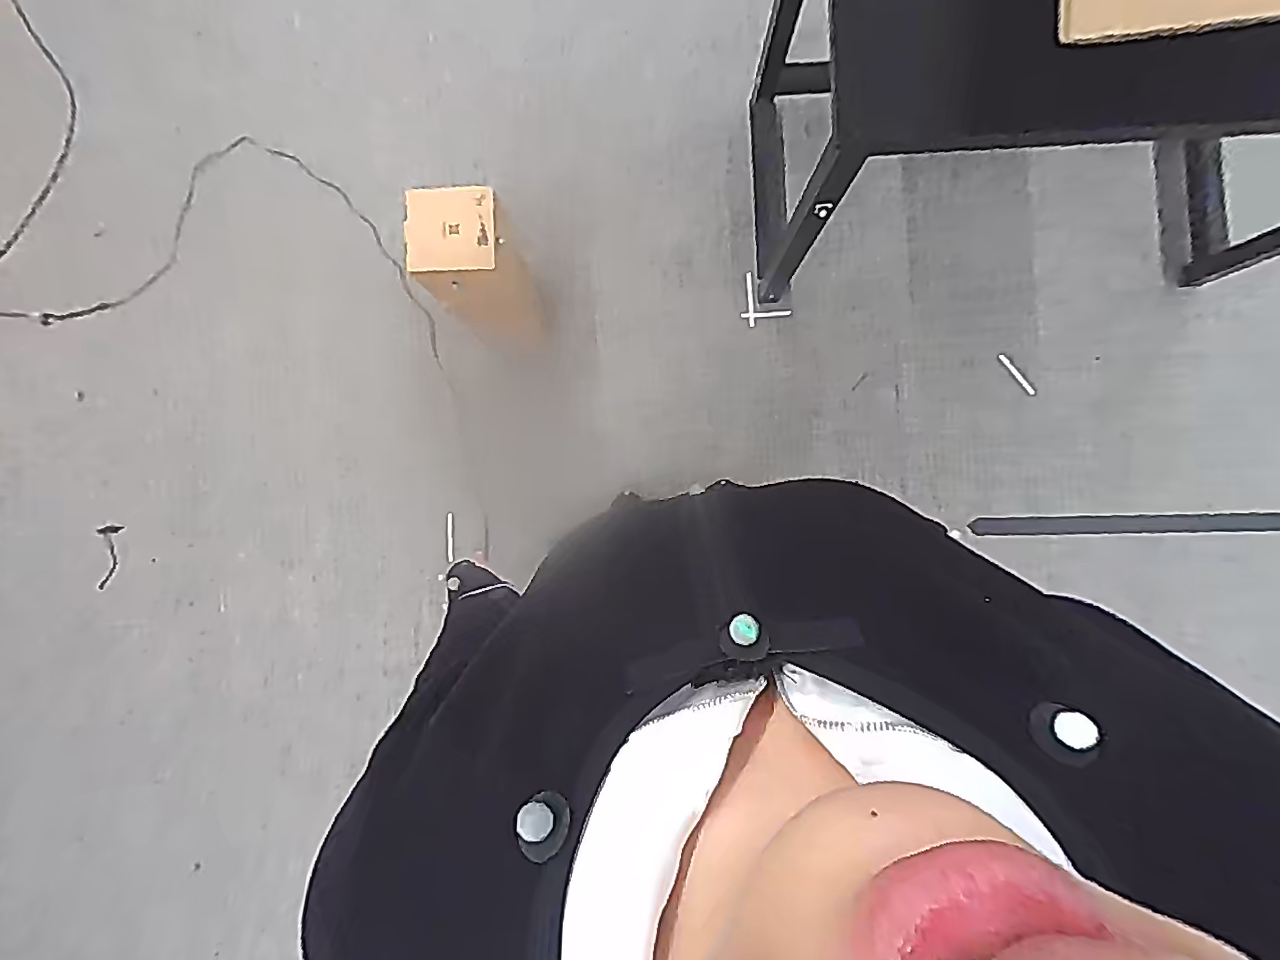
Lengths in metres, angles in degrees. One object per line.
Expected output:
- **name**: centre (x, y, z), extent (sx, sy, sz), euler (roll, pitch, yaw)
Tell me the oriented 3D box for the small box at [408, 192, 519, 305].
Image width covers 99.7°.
- **small box**: centre (-0.363, -0.475, 1.133), extent (0.179, 0.176, 0.168), euler (-2, 88, 2)
